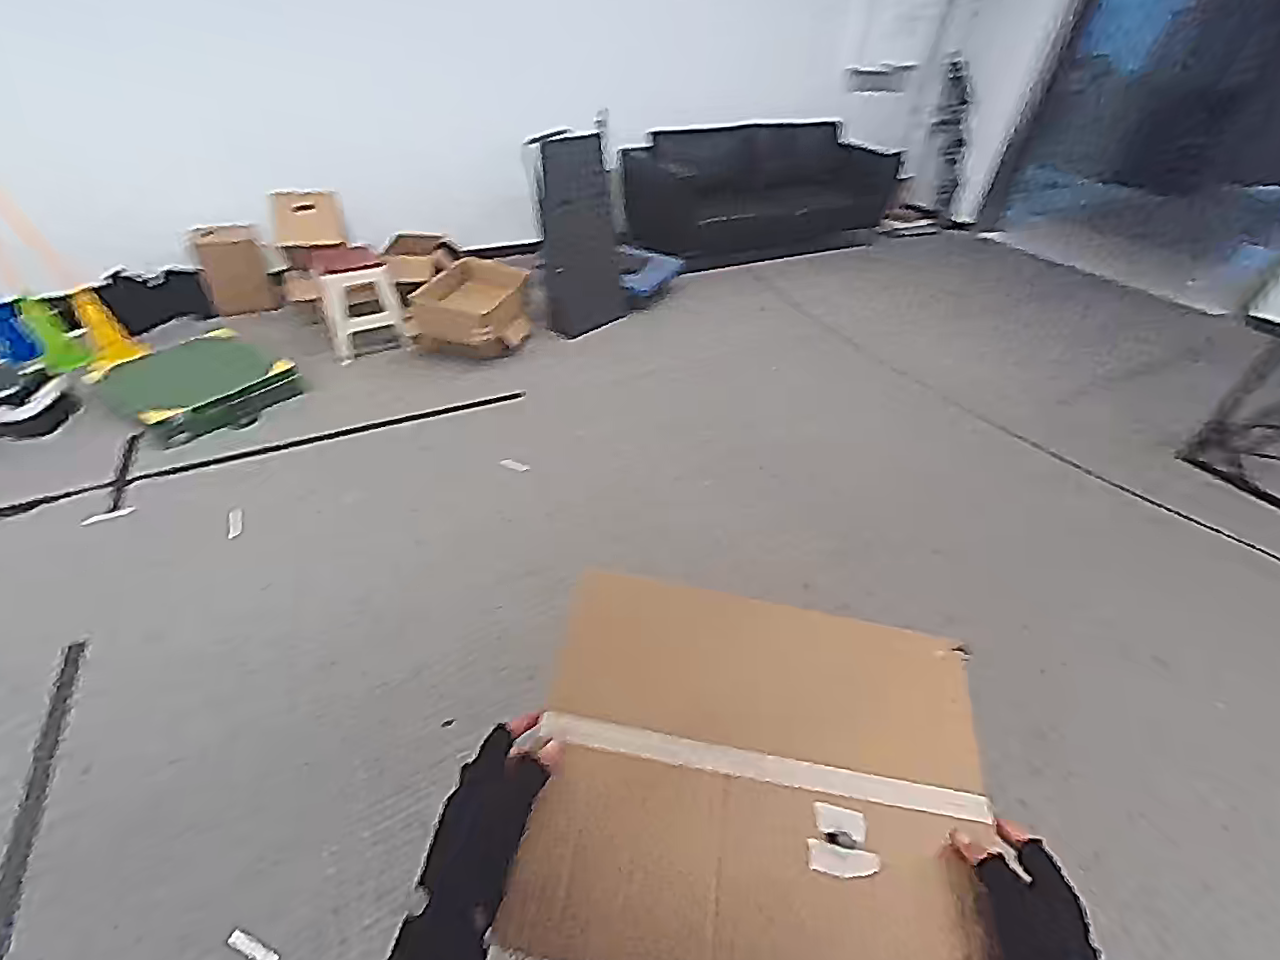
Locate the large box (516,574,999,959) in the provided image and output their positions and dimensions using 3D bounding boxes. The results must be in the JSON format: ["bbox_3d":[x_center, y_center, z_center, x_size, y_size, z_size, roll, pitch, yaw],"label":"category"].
[{"bbox_3d":[0.102,0.343,0.630,0.408,0.320,0.320,11,57,1],"label":"large box"}]
